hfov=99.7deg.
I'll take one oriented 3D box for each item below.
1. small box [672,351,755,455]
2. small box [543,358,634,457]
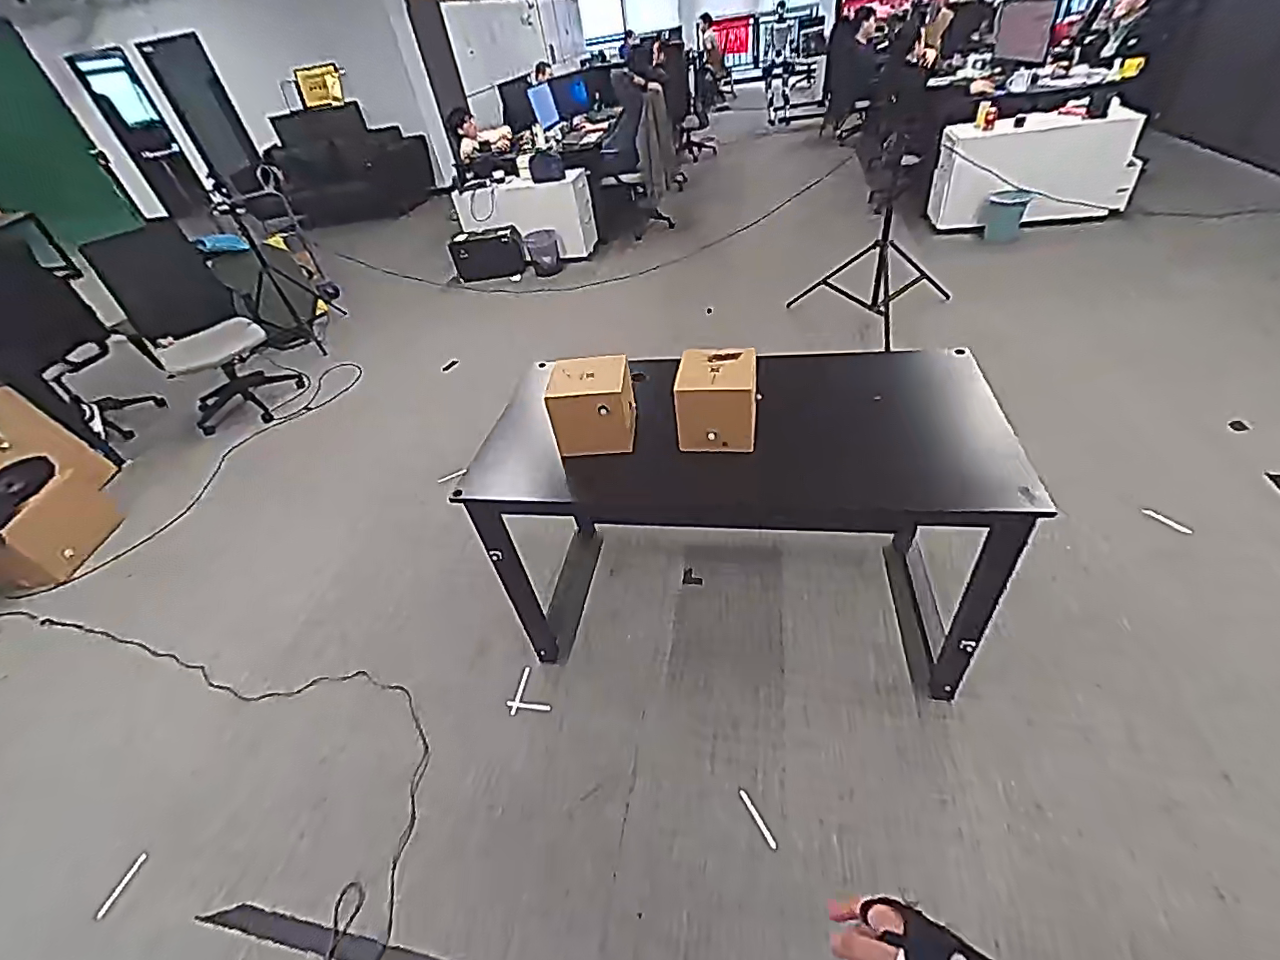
[{"bbox_3d":[0.173,-0.177,1.233,0.168,0.176,0.179,1,43,14],"label":"small box"},{"bbox_3d":[-0.113,-0.170,1.283,0.179,0.176,0.168,-4,41,8],"label":"small box"}]
